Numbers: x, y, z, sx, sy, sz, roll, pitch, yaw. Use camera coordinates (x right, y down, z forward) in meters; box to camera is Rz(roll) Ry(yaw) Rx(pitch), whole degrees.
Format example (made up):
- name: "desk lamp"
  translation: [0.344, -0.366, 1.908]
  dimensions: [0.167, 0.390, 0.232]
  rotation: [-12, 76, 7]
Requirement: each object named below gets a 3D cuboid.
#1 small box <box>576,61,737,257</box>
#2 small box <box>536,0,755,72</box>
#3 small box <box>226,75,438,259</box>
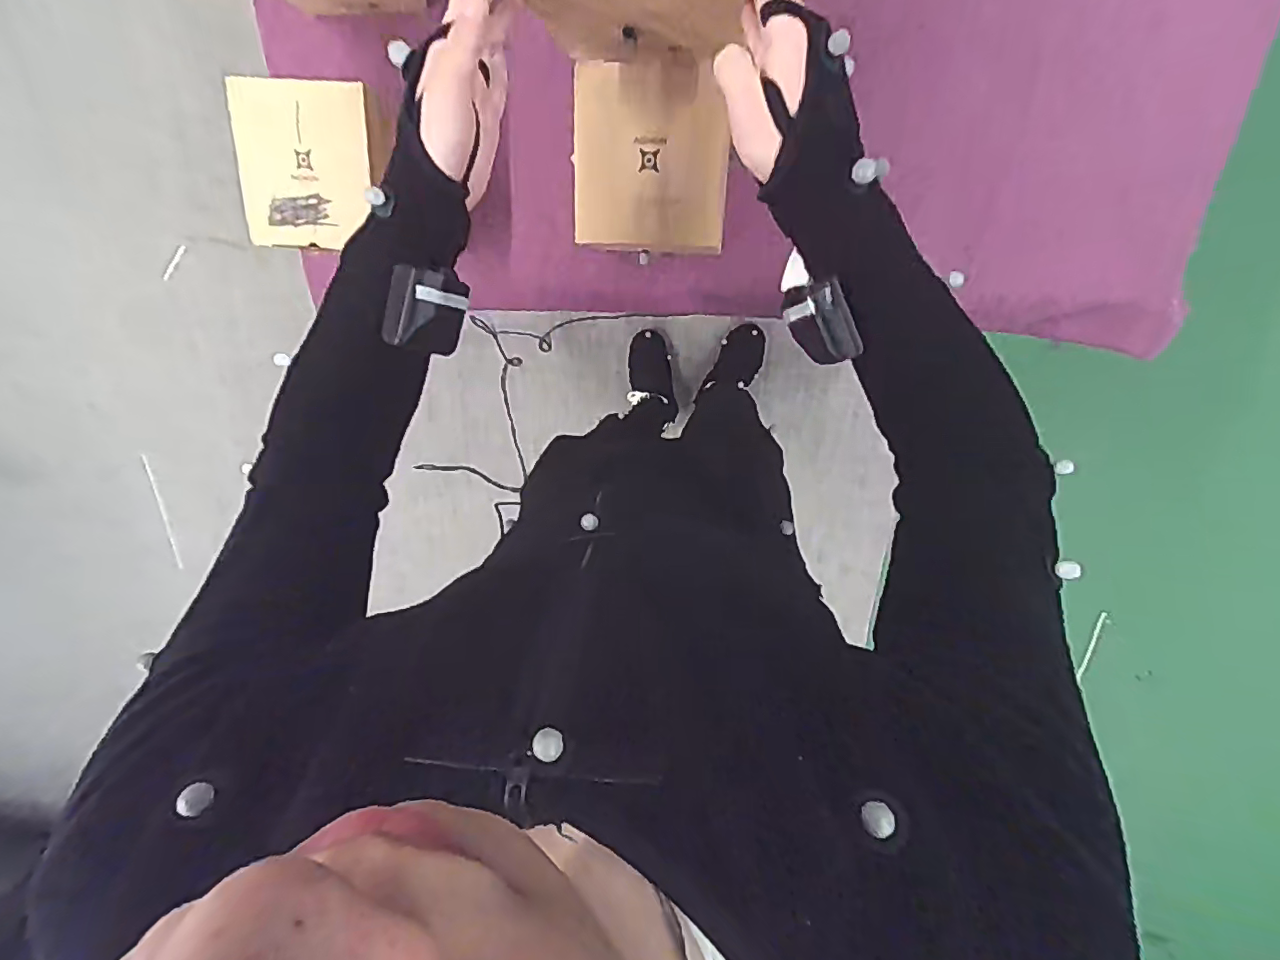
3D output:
- name: "small box"
  translation: [0.022, -0.370, 0.650]
  dimensions: [0.168, 0.176, 0.179]
  rotation: [5, 111, 7]
- name: "small box"
  translation: [0.008, -0.432, 0.396]
  dimensions: [0.168, 0.176, 0.179]
  rotation: [6, 115, 7]
- name: "small box"
  translation: [-0.375, -0.384, 0.695]
  dimensions: [0.168, 0.176, 0.179]
  rotation: [7, 110, 5]
